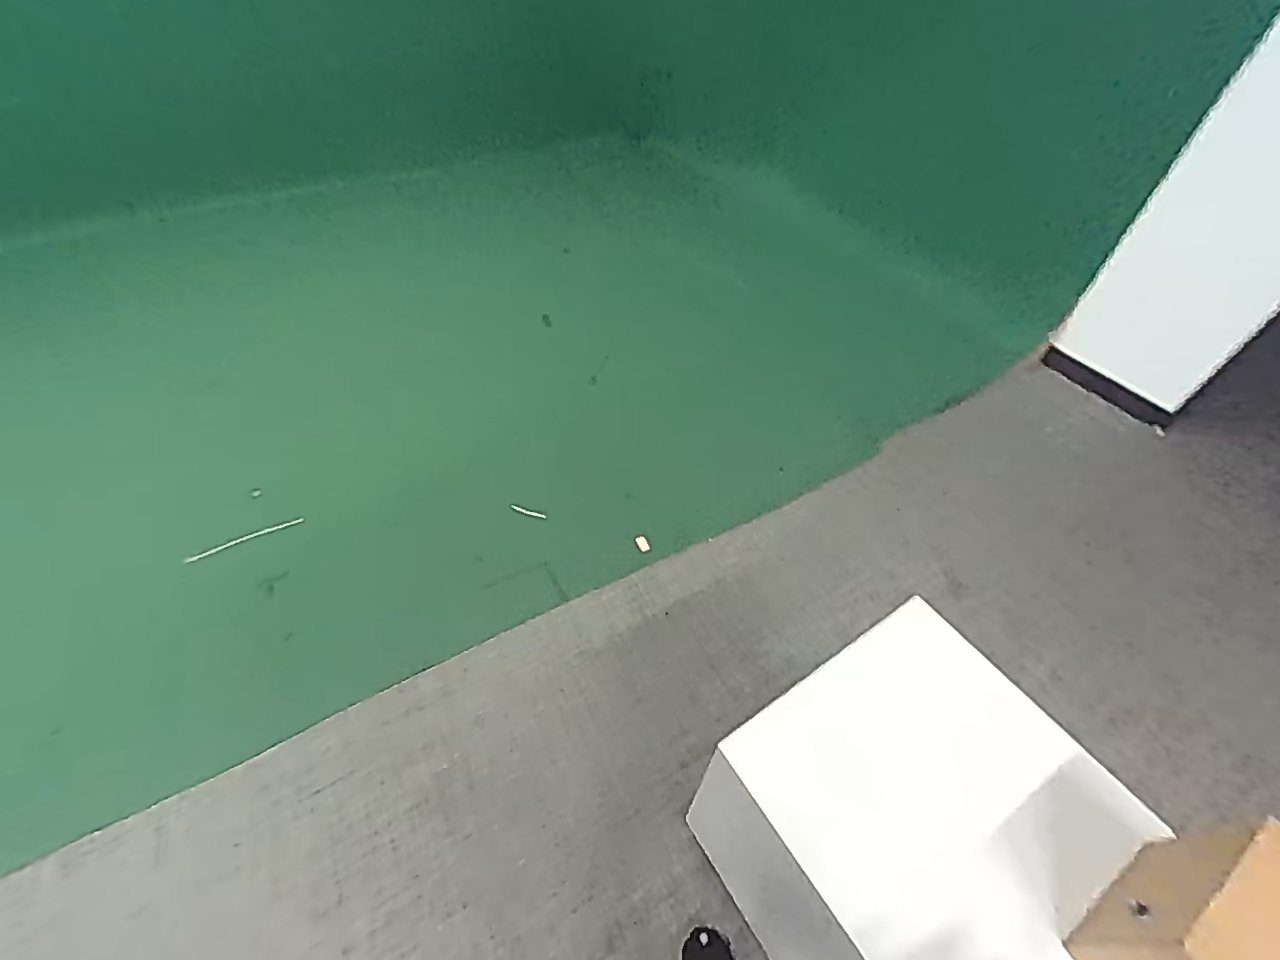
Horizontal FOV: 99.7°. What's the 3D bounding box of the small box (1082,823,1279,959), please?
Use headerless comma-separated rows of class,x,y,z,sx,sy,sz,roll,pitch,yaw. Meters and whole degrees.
small box,0.561,0.458,0.491,0.179,0.176,0.168,-26,55,-22
